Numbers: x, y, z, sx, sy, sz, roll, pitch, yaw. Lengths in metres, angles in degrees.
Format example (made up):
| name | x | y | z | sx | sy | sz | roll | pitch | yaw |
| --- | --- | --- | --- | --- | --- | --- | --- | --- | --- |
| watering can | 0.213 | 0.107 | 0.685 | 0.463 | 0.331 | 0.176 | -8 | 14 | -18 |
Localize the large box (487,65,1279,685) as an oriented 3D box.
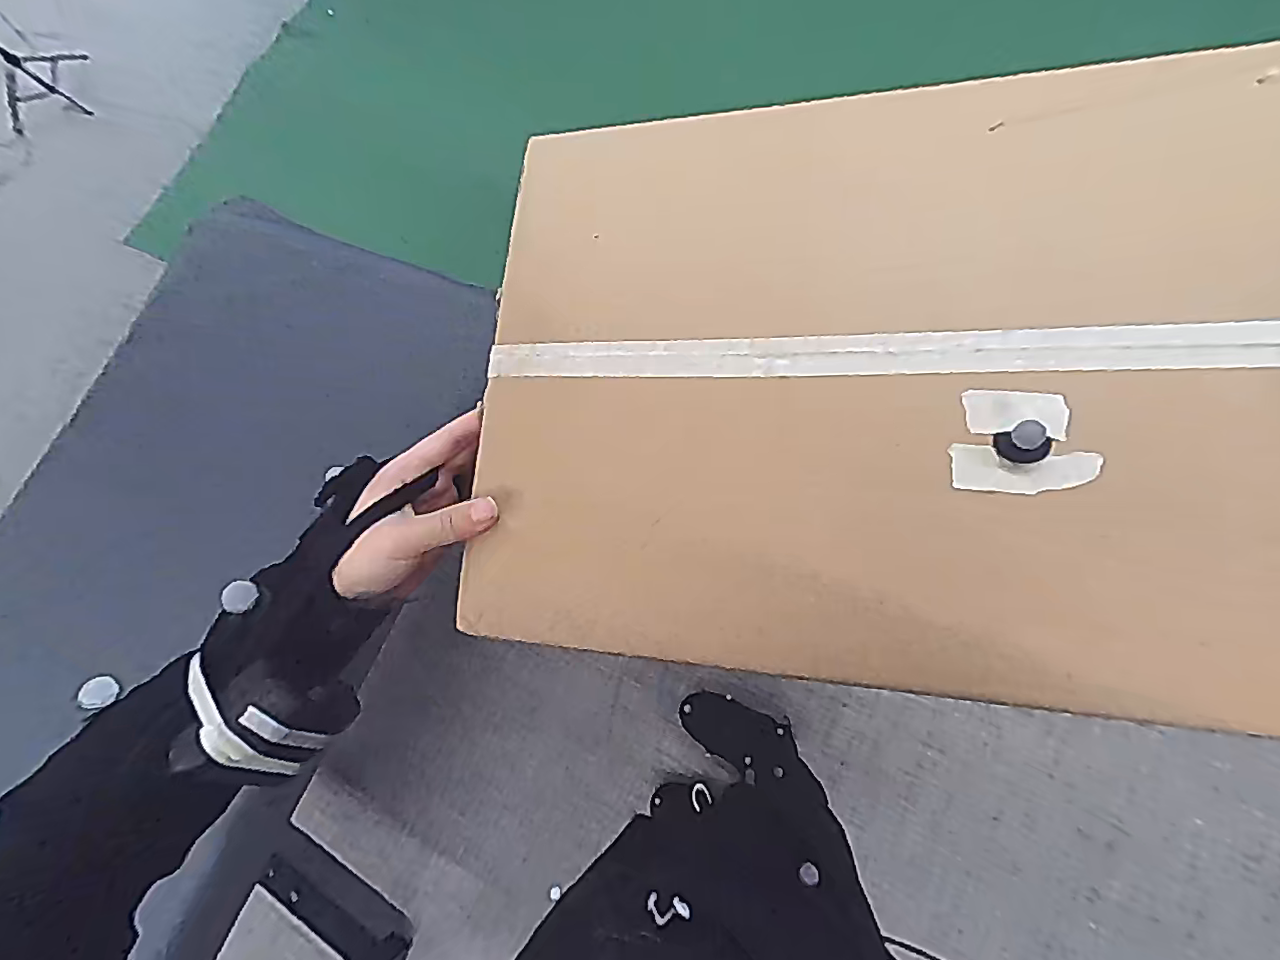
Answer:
| name | x | y | z | sx | sy | sz | roll | pitch | yaw |
| --- | --- | --- | --- | --- | --- | --- | --- | --- | --- |
| large box | 0.148 | -0.035 | 0.430 | 0.408 | 0.320 | 0.320 | 2 | 78 | 14 |
